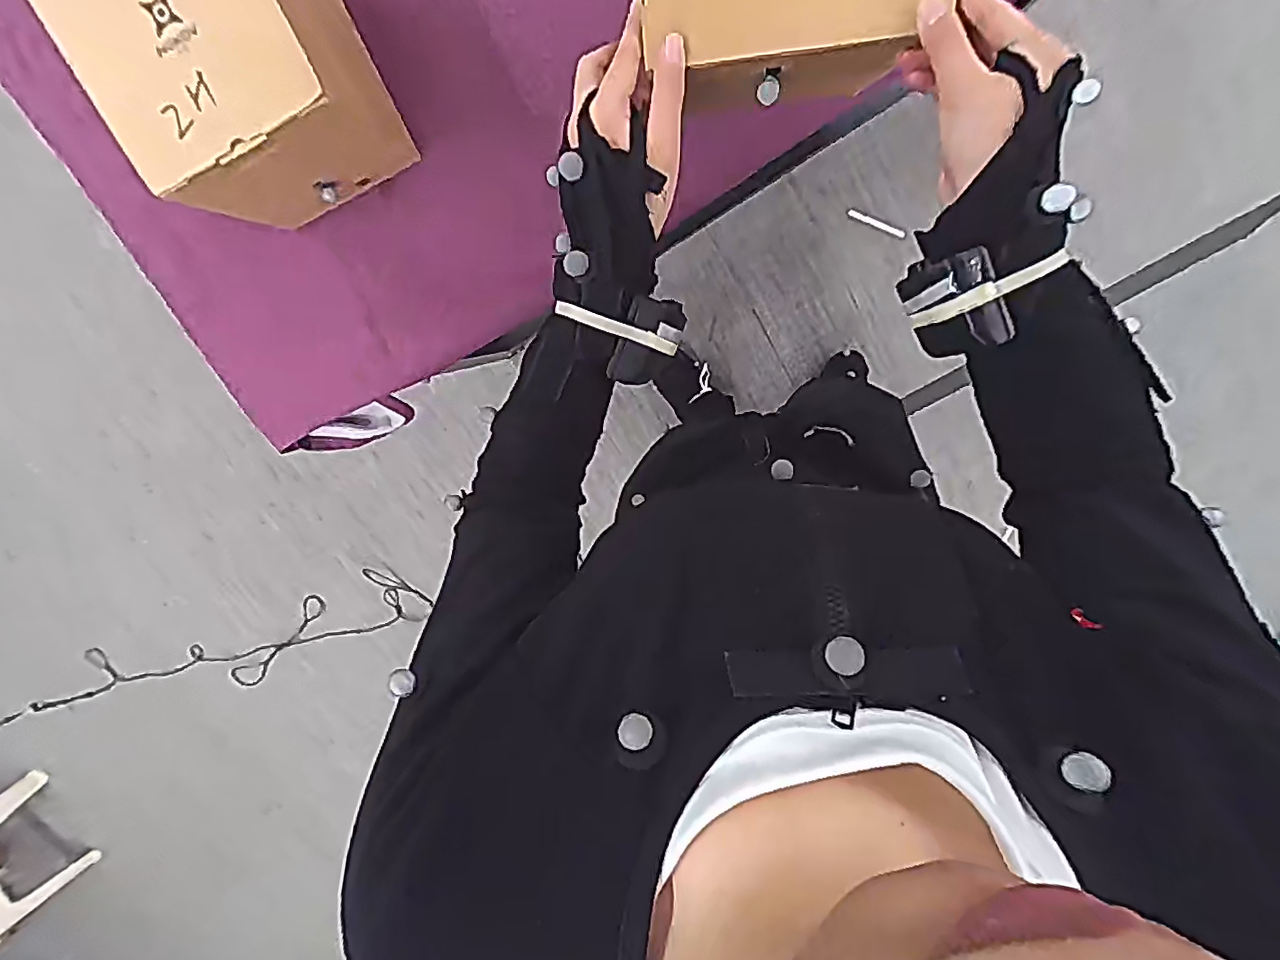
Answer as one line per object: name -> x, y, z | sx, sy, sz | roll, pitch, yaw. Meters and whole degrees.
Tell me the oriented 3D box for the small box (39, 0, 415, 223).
small box -> -0.336, -0.353, 0.468 | 0.168, 0.176, 0.179 | -23, 104, 8
